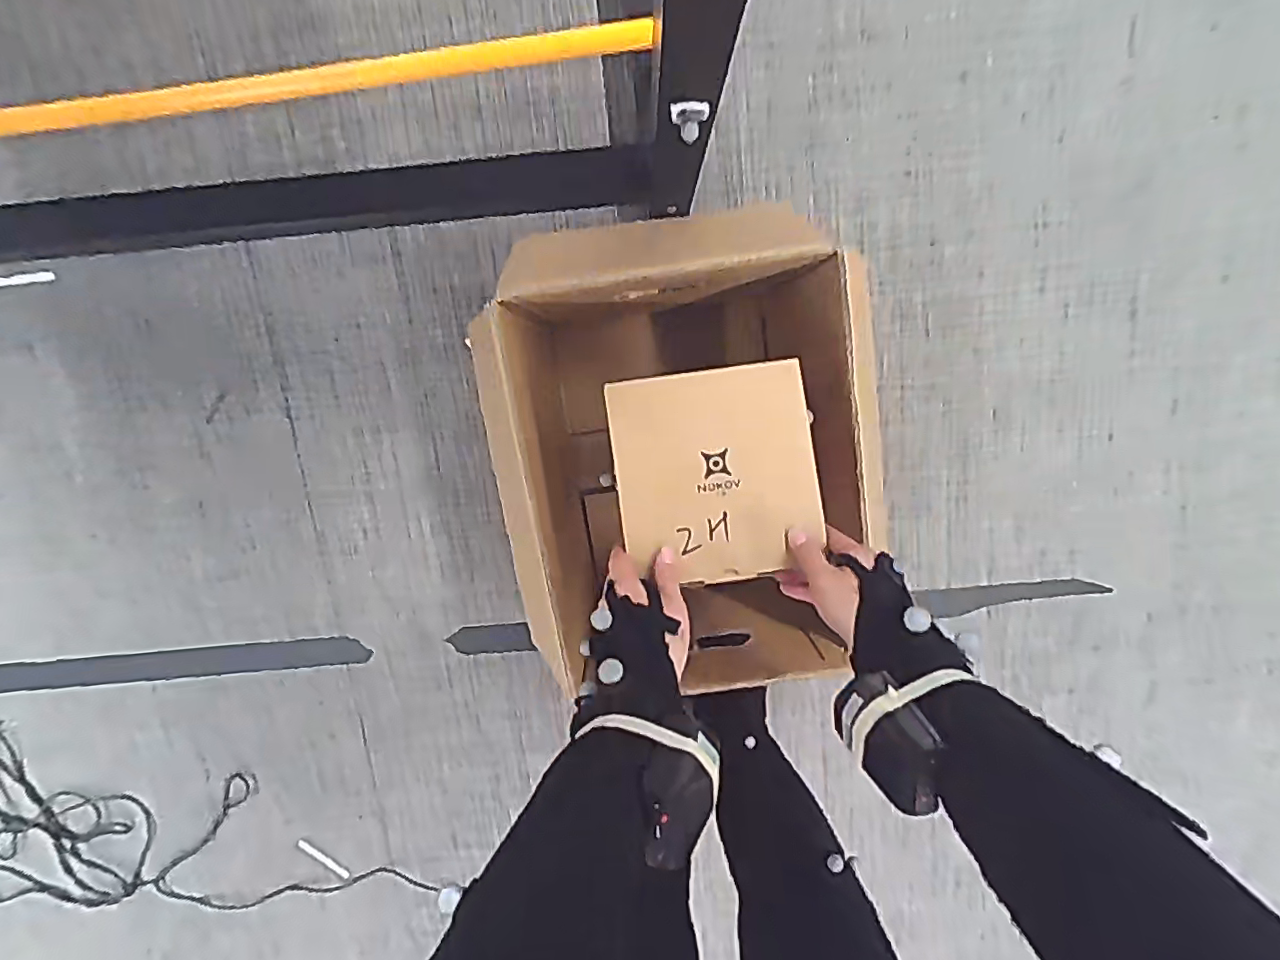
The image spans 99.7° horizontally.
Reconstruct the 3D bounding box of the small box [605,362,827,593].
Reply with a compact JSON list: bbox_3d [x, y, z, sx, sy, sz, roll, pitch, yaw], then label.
[{"bbox_3d":[0.060,0.002,0.522,0.168,0.176,0.179,-8,87,0],"label":"small box"}]
